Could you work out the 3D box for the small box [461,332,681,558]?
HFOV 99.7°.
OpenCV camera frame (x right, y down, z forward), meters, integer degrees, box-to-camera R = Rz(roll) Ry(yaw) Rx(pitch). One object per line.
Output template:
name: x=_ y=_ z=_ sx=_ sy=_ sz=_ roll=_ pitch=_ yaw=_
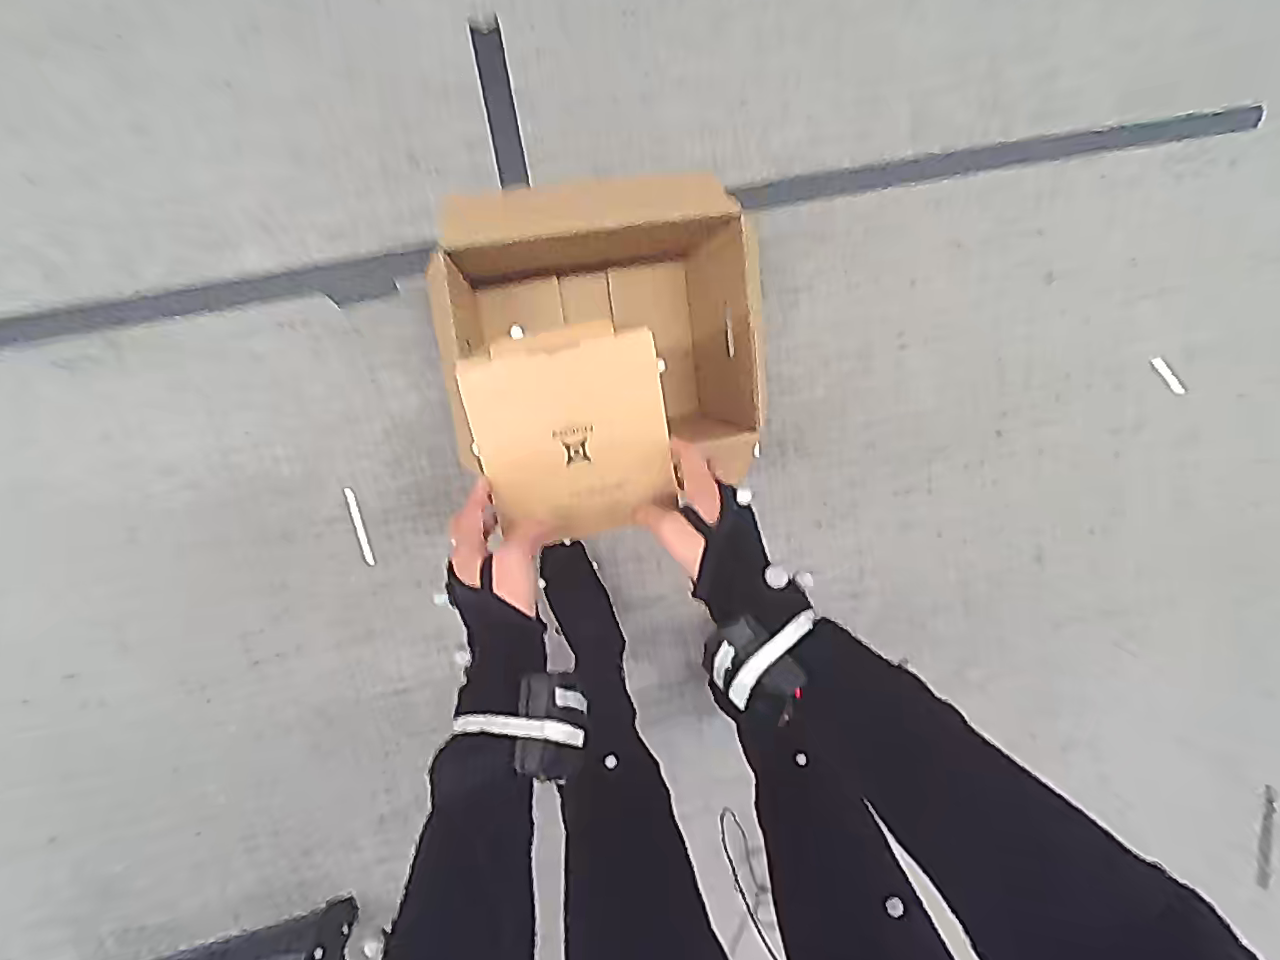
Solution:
small box: x=-0.062 y=-0.048 z=0.541 sx=0.168 sy=0.176 sz=0.179 roll=-11 pitch=110 yaw=-2
